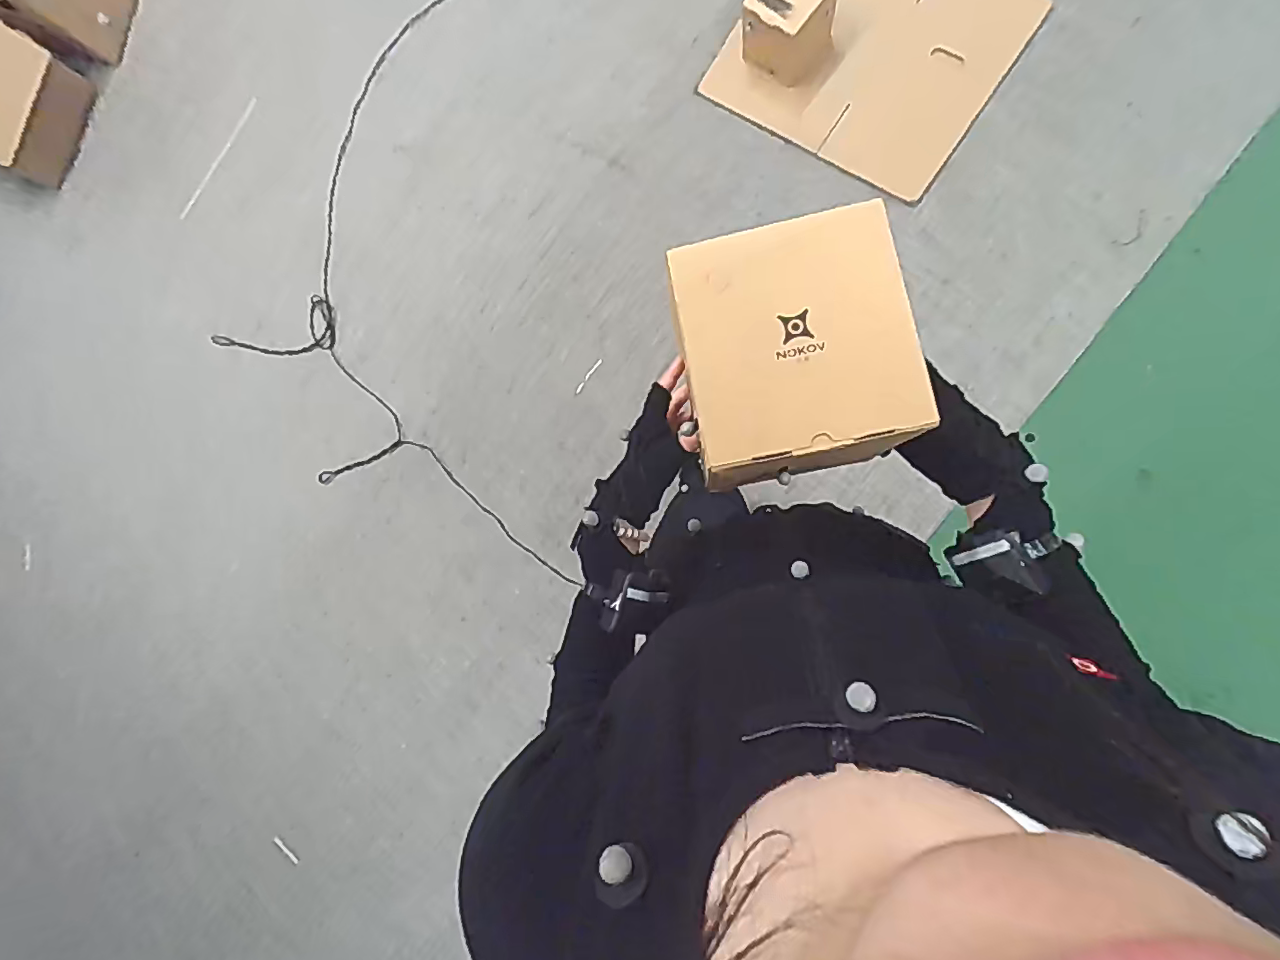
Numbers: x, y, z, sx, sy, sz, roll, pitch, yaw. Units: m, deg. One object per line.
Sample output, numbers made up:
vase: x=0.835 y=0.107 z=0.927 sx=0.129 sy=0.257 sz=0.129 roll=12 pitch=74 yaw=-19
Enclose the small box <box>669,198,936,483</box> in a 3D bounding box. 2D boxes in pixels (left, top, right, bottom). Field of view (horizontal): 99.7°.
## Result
small box: x=0.123 y=-0.103 z=0.476 sx=0.168 sy=0.176 sz=0.179 roll=-12 pitch=84 yaw=5
